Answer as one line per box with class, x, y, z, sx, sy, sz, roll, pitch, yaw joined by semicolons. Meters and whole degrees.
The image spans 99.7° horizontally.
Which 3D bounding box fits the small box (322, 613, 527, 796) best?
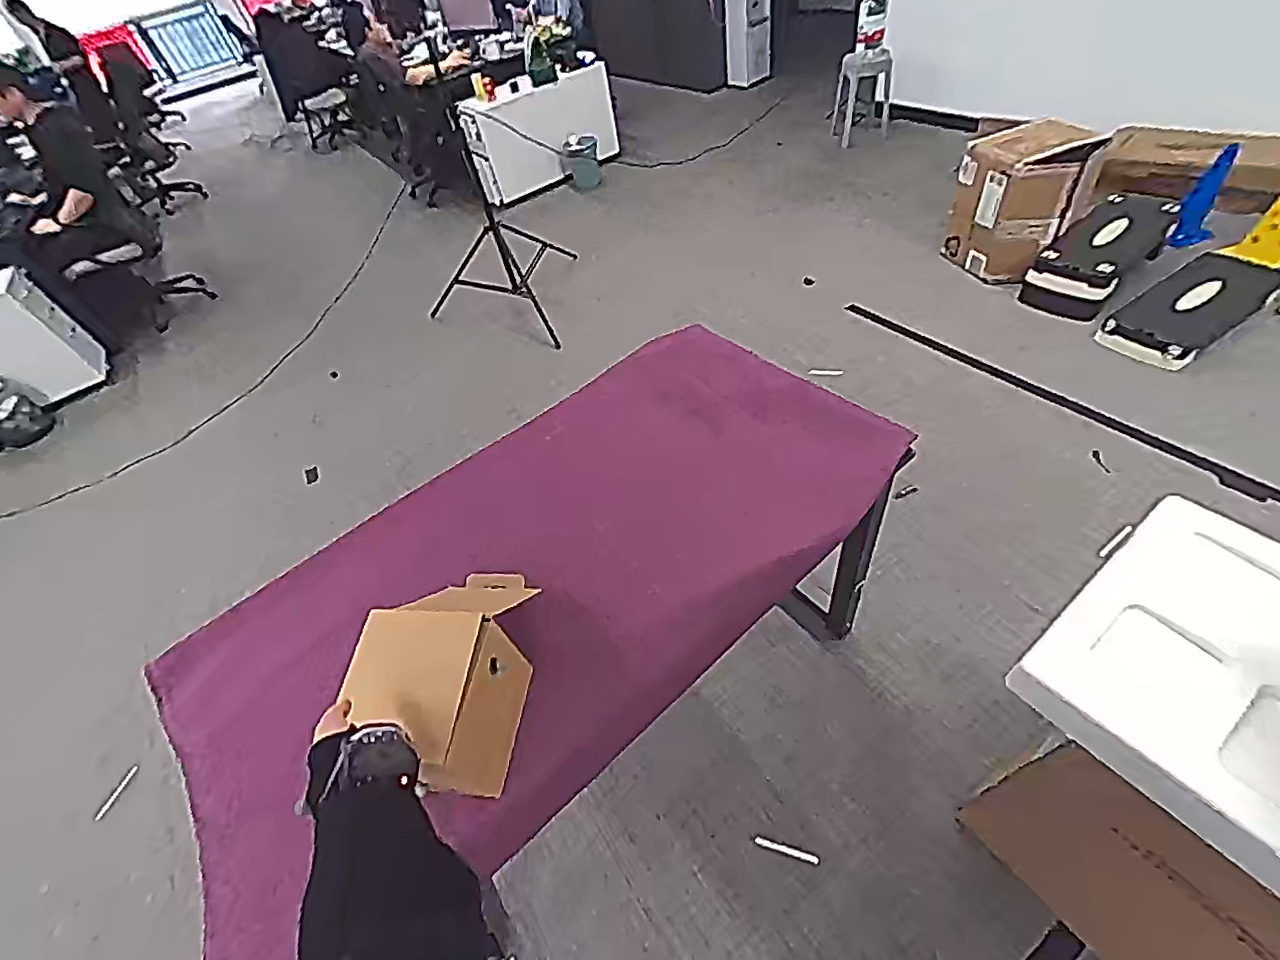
small box;-0.267;0.298;0.722;0.168;0.176;0.179;-2;49;13
